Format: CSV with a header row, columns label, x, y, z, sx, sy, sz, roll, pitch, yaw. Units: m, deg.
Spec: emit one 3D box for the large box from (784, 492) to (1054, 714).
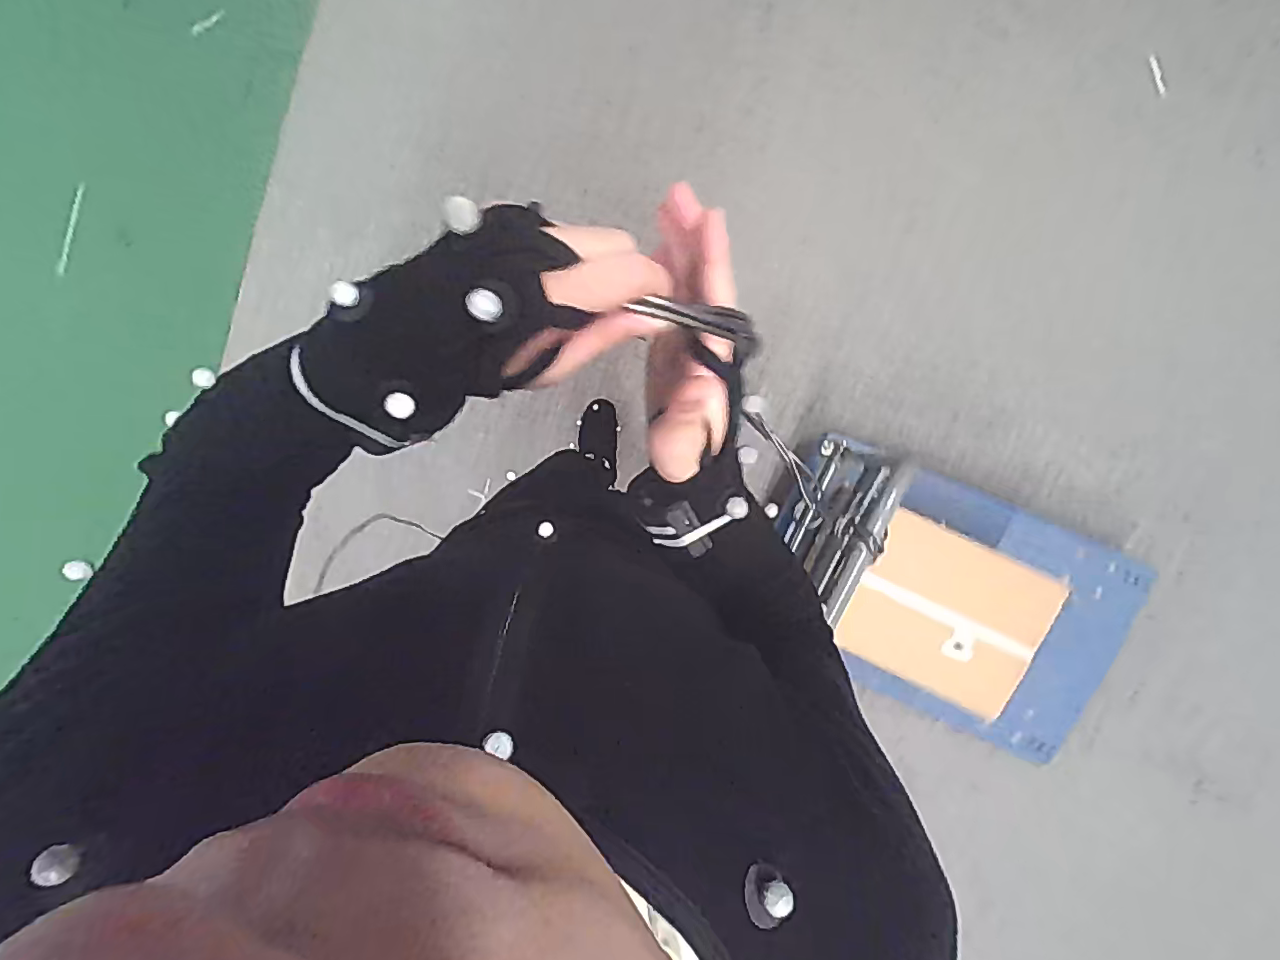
label,x,y,z,sx,sy,sz,roll,pitch,yaw
large box,0.602,0.253,1.255,0.408,0.320,0.320,26,97,3
